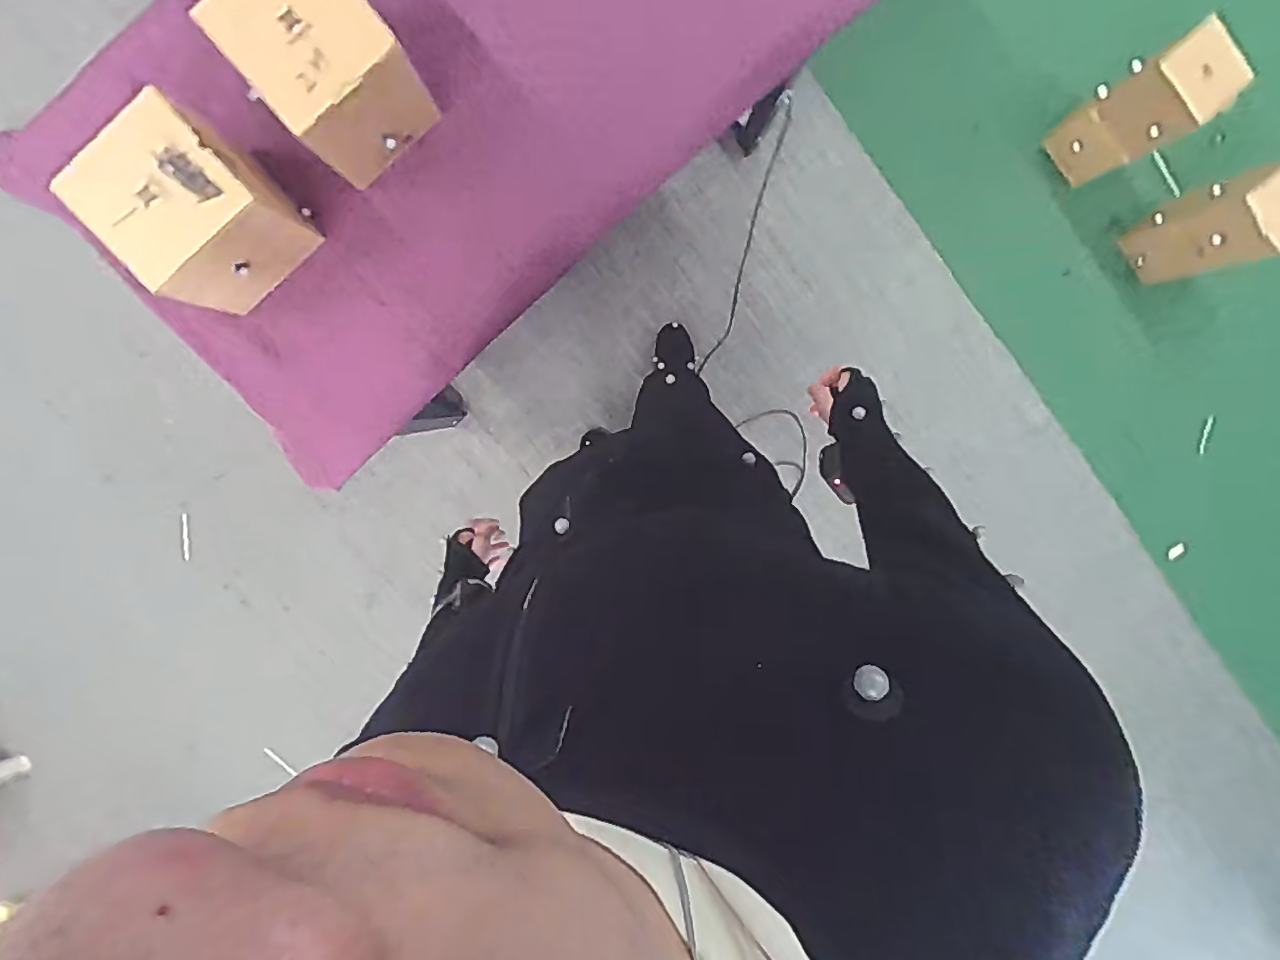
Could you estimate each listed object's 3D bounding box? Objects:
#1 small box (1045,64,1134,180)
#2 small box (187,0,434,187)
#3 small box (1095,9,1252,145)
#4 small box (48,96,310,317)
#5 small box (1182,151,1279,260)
[{"bbox_3d":[1.245,-0.957,1.458,0.179,0.176,0.168,-43,97,2],"label":"small box"},{"bbox_3d":[-0.408,-0.529,0.704,0.168,0.176,0.179,-40,98,3],"label":"small box"},{"bbox_3d":[1.266,-0.946,1.297,0.168,0.176,0.179,-43,97,2],"label":"small box"},{"bbox_3d":[-0.585,-0.345,0.721,0.179,0.176,0.168,-41,98,4],"label":"small box"},{"bbox_3d":[1.516,-0.678,1.342,0.179,0.176,0.168,-39,99,4],"label":"small box"}]
